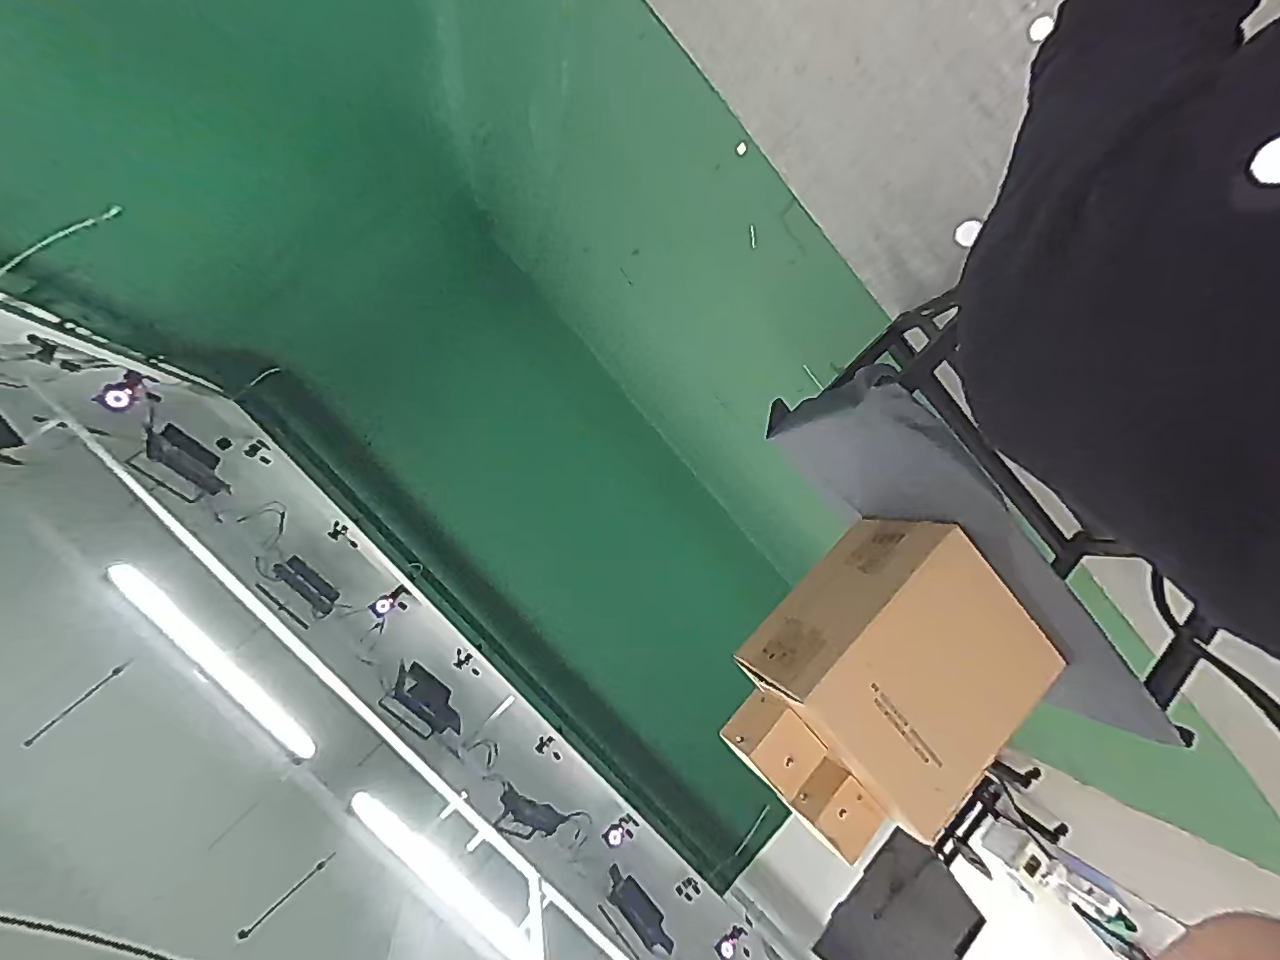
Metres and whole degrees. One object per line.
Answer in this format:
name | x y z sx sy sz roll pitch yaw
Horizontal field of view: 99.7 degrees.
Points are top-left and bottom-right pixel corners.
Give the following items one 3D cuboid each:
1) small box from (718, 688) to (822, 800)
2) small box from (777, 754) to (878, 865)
small box | 0.351 0.700 1.453 0.179 0.176 0.168 48 164 -9
small box | 0.520 0.890 1.487 0.168 0.176 0.179 50 165 -7
